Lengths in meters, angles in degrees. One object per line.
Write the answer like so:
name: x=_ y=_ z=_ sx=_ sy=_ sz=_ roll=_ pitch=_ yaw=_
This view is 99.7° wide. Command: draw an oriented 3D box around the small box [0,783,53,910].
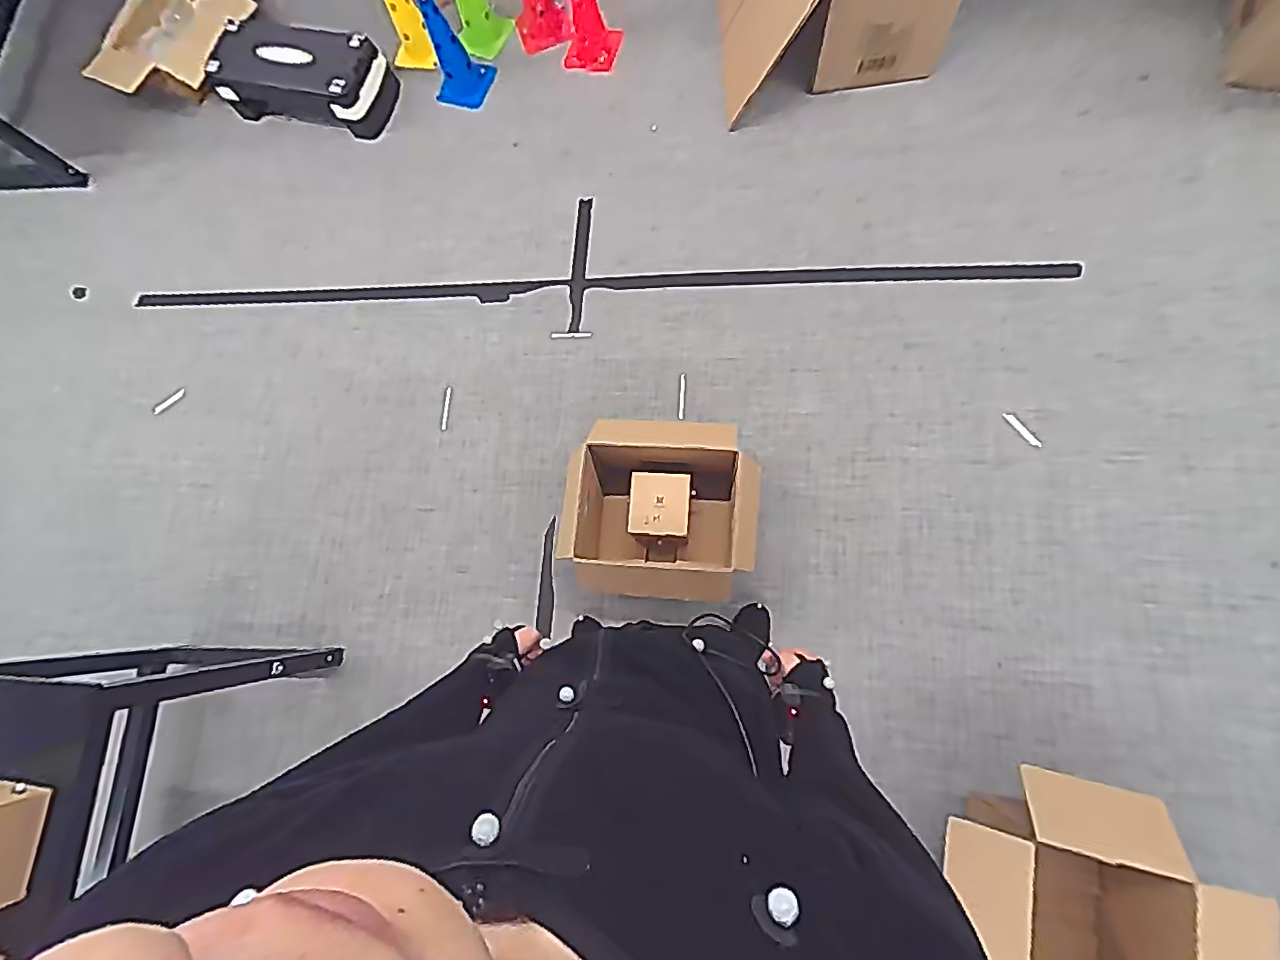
small box: x=-1.138 y=0.619 z=0.886 sx=0.168 sy=0.176 sz=0.179 roll=3 pitch=80 yaw=9
